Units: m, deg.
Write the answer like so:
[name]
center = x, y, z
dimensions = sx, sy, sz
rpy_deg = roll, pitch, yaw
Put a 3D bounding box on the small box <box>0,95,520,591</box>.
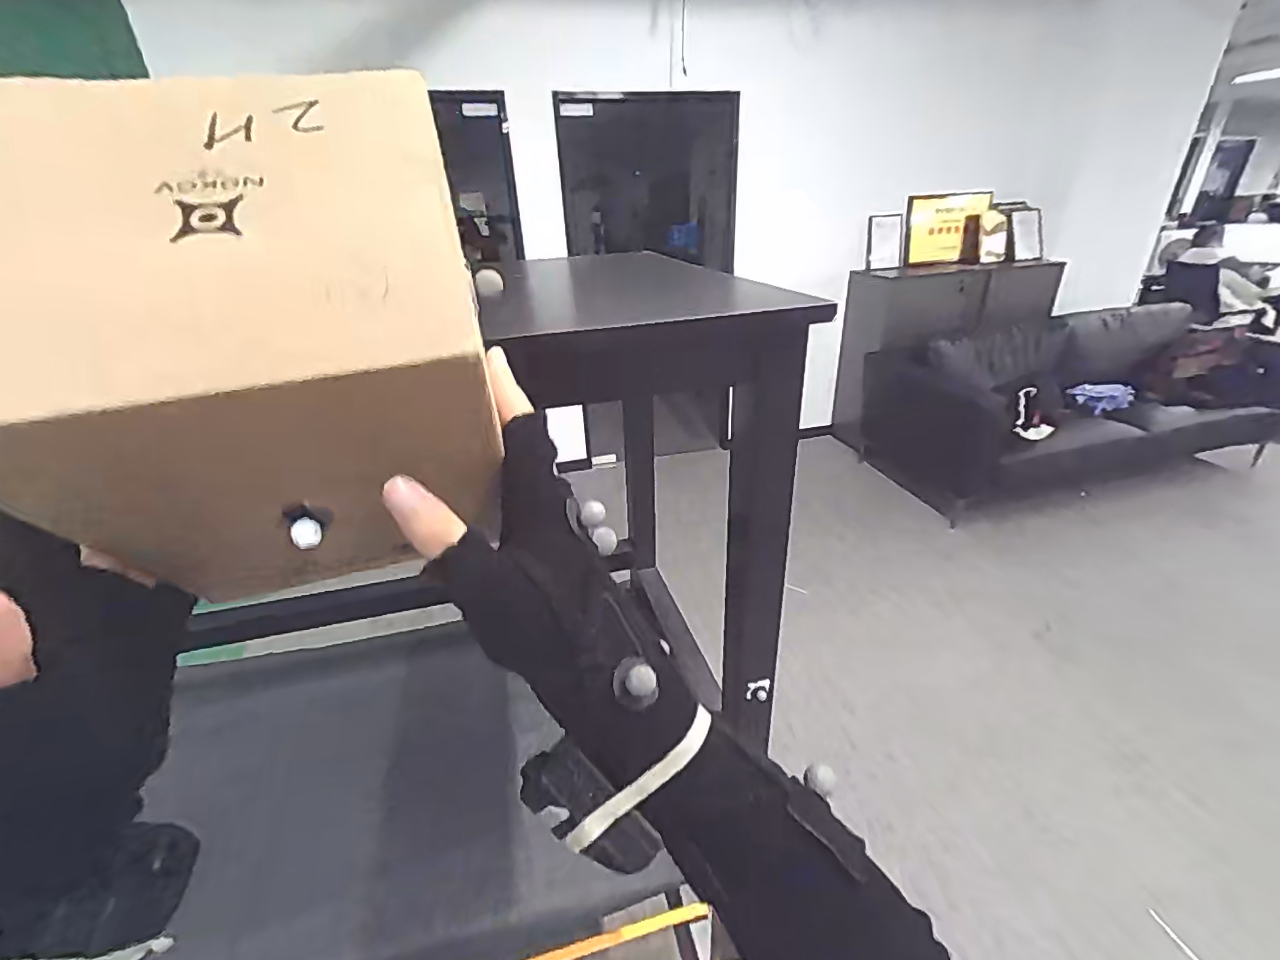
[small box]
center = -0.162, -0.055, 0.276
dimensions = 0.168, 0.176, 0.179
rpy_deg = -12, 65, -14
